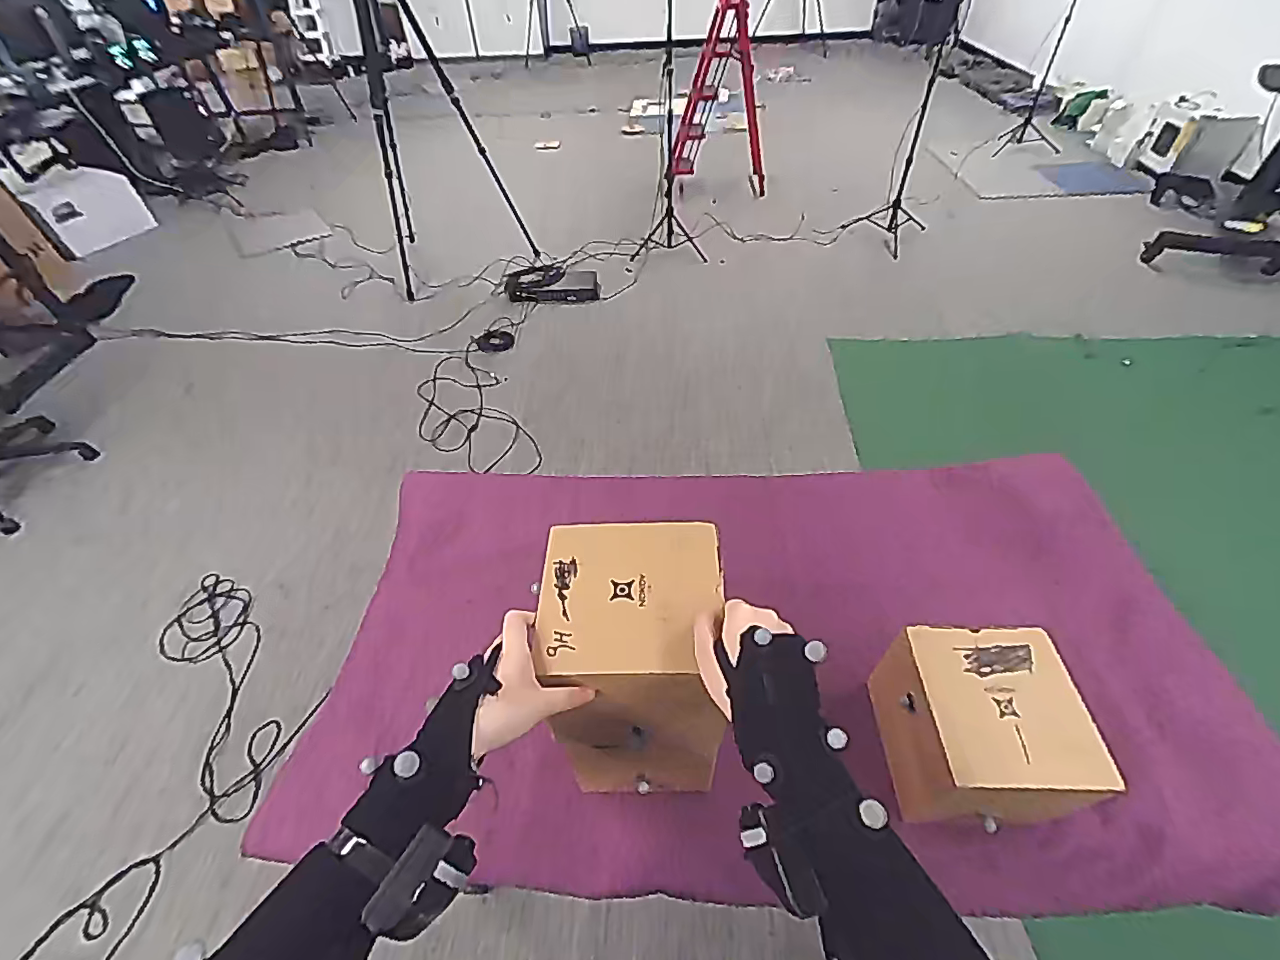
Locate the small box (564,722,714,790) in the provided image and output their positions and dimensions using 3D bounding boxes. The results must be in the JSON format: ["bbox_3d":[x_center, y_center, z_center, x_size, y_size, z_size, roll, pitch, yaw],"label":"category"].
[{"bbox_3d":[0.001,0.267,0.678,0.168,0.176,0.179,-2,46,3],"label":"small box"}]

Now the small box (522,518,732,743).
[{"bbox_3d":[-0.008,0.156,0.556,0.179,0.176,0.168,0,45,2],"label":"small box"}]

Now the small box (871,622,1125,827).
[{"bbox_3d":[0.393,0.288,0.640,0.168,0.176,0.179,0,48,3],"label":"small box"}]
